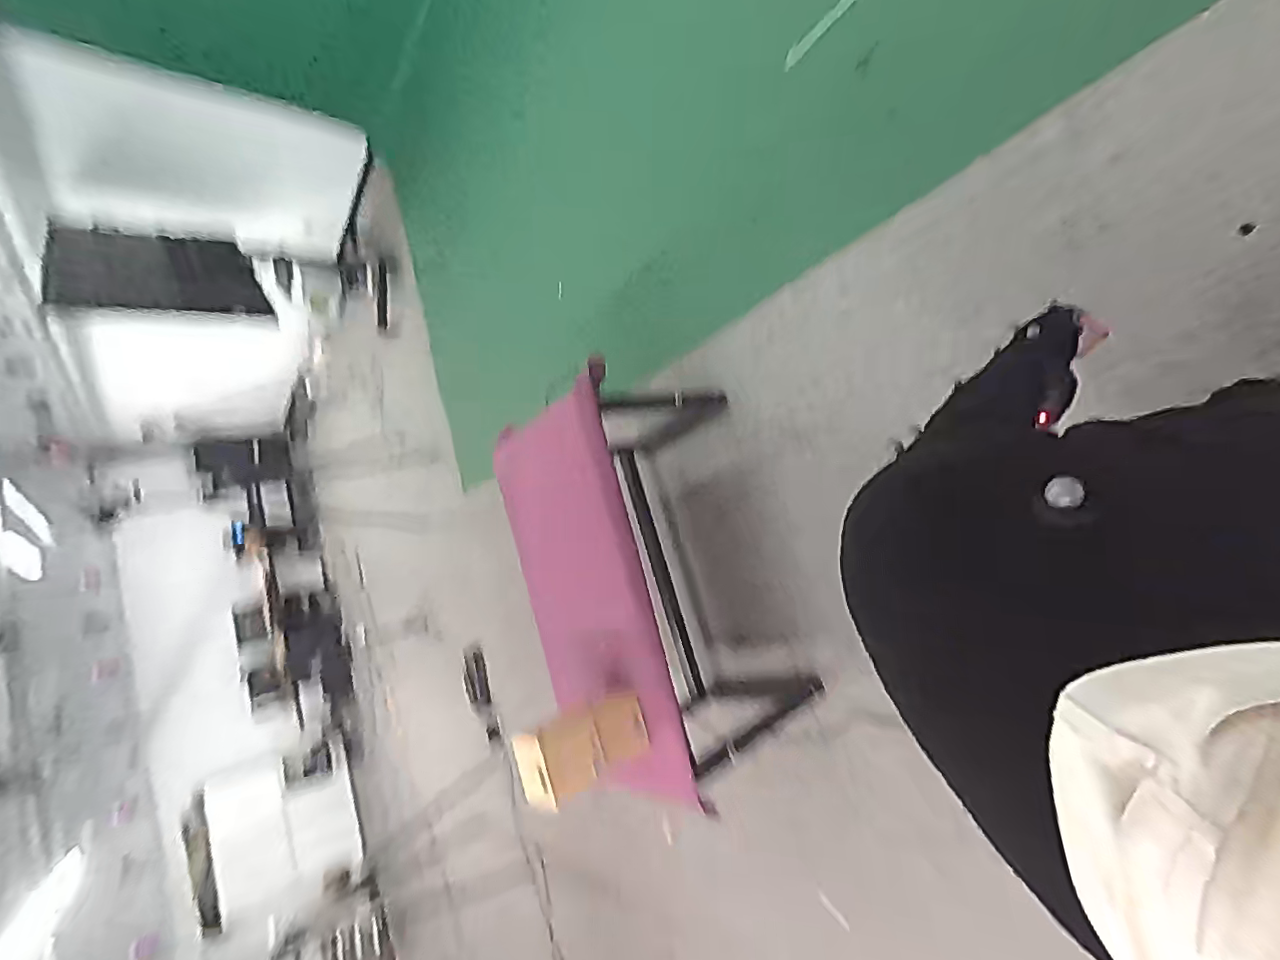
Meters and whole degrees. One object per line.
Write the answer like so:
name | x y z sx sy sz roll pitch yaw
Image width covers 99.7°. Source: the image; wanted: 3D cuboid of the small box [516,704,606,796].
small box | -0.208 0.724 1.470 0.179 0.176 0.168 -27 78 50

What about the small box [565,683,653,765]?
small box | -0.090 0.705 1.582 0.179 0.176 0.168 -26 78 48
